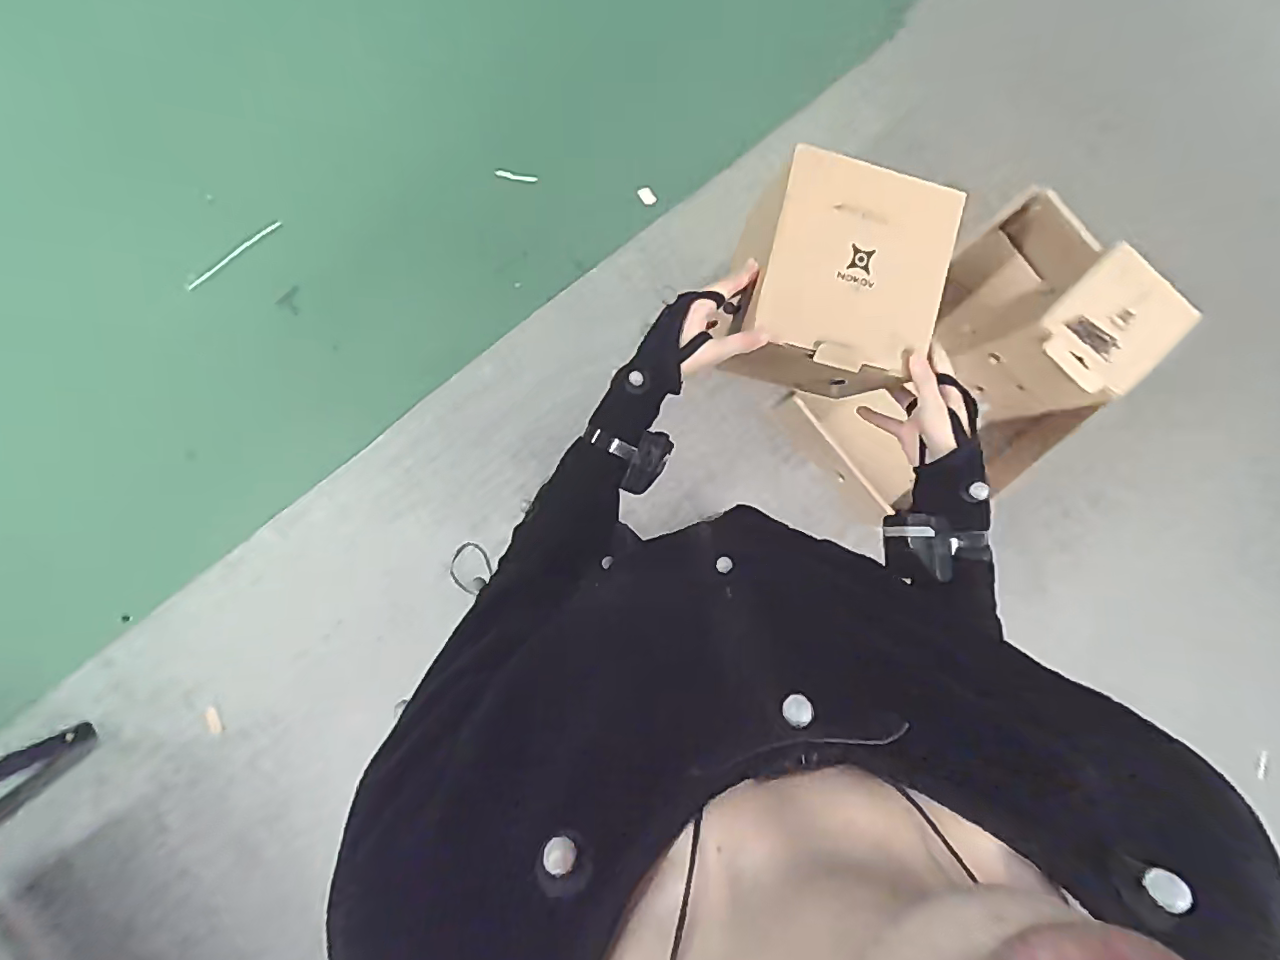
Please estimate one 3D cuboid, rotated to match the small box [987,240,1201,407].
[{"bbox_3d":[0.709,-0.238,0.876,0.179,0.176,0.168,-44,90,1],"label":"small box"}]
